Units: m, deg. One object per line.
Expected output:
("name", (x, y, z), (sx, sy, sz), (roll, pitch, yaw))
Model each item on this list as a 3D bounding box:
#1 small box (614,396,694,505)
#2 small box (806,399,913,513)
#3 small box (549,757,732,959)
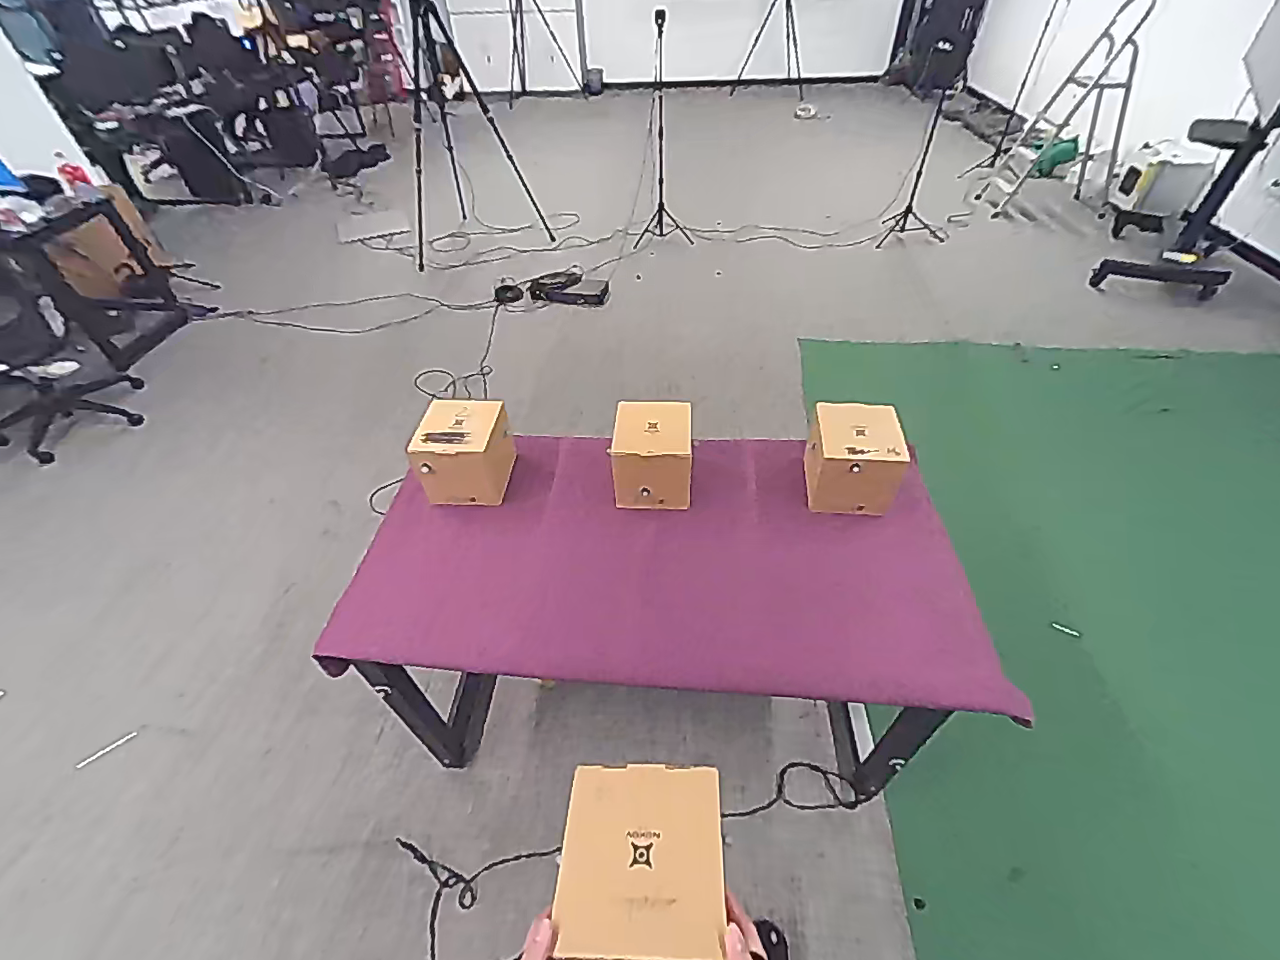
("small box", (0.033, -0.066, 1.201), (0.168, 0.176, 0.179), (2, 47, 3))
("small box", (0.461, -0.052, 1.167), (0.168, 0.176, 0.179), (3, 47, 7))
("small box", (0.010, 0.432, 0.588), (0.168, 0.176, 0.179), (-1, 35, 6))
